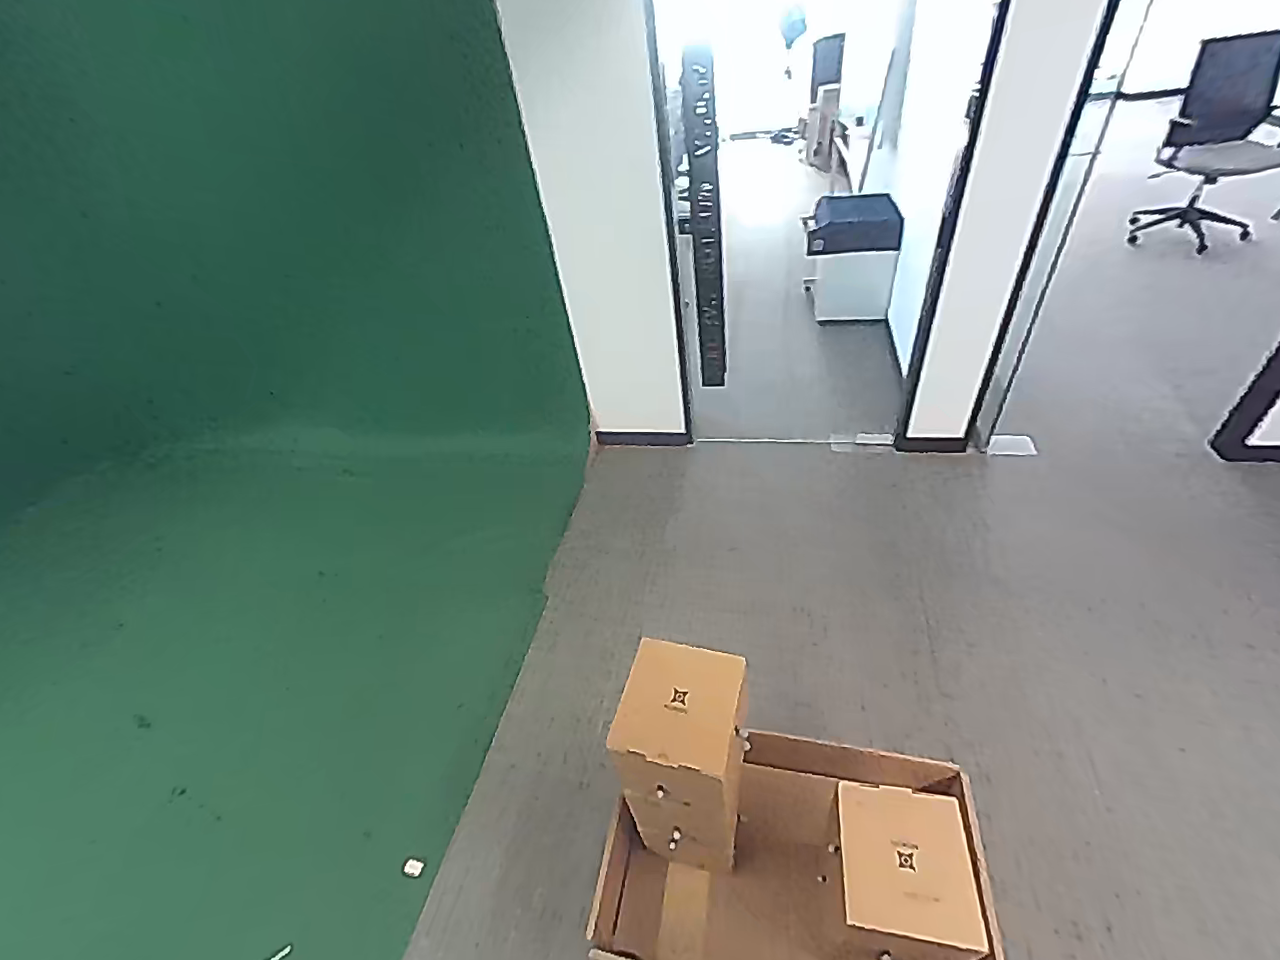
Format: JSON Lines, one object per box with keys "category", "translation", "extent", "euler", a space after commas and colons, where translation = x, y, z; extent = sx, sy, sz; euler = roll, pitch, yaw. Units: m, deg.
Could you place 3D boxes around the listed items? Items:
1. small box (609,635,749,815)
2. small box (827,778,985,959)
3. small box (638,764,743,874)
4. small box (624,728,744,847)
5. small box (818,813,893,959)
{"category": "small box", "translation": [0.068, 0.370, 0.825], "extent": [0.168, 0.176, 0.179], "euler": [7, 44, 18]}
{"category": "small box", "translation": [0.368, 0.570, 0.786], "extent": [0.168, 0.176, 0.179], "euler": [2, 42, 14]}
{"category": "small box", "translation": [0.104, 0.614, 1.039], "extent": [0.168, 0.176, 0.179], "euler": [5, 43, 16]}
{"category": "small box", "translation": [0.085, 0.491, 0.932], "extent": [0.168, 0.176, 0.179], "euler": [5, 43, 18]}
{"category": "small box", "translation": [0.389, 0.691, 0.893], "extent": [0.168, 0.176, 0.179], "euler": [3, 42, 14]}
